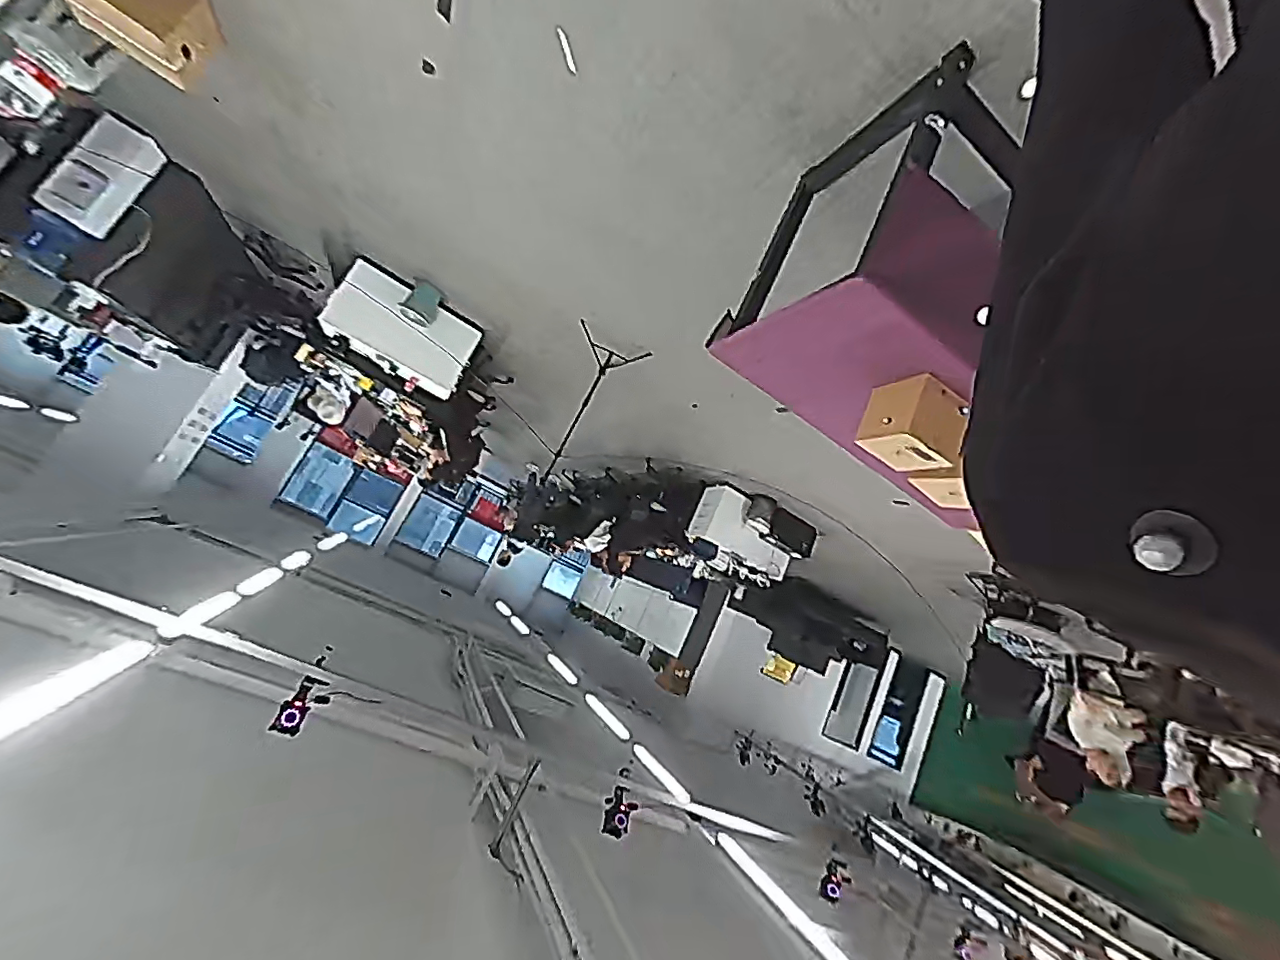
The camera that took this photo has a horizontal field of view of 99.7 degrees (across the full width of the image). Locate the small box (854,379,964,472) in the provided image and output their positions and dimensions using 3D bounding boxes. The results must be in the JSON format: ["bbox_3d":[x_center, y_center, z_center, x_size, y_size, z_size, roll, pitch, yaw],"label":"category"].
[{"bbox_3d":[0.682,-0.135,1.362,0.168,0.176,0.179,29,168,-16],"label":"small box"}]

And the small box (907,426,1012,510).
[{"bbox_3d":[0.860,-0.033,1.444,0.168,0.176,0.179,32,166,-24],"label":"small box"}]
